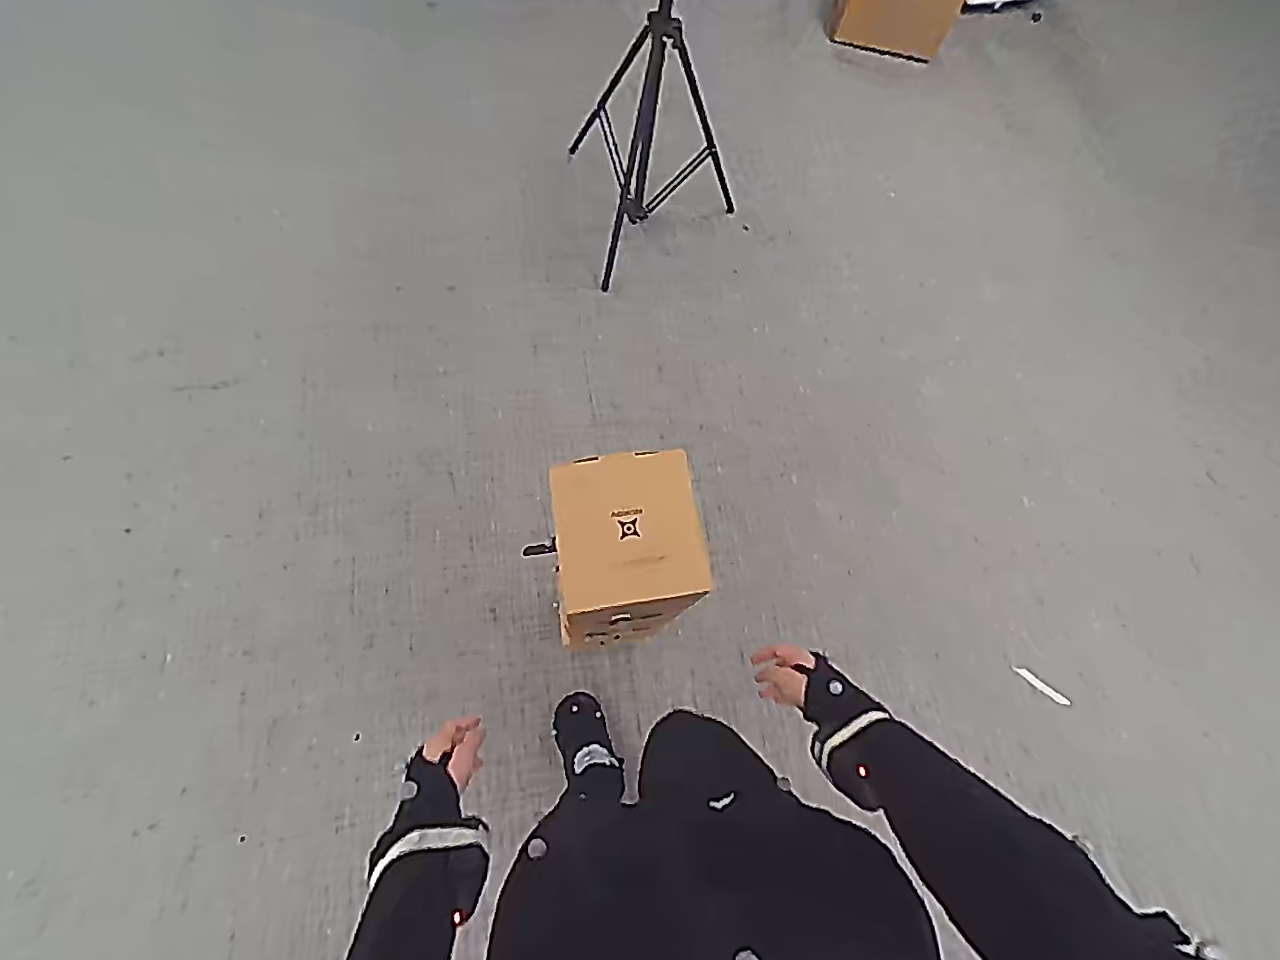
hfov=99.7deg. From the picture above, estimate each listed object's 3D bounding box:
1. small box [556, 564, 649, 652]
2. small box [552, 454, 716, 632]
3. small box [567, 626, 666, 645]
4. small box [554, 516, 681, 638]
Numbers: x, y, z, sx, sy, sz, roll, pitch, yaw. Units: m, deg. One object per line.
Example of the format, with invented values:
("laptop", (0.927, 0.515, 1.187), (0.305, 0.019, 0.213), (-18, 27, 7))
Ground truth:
("small box", (-0.081, 0.264, 1.133), (0.179, 0.176, 0.168), (-4, 71, -8))
("small box", (-0.018, 0.085, 0.681), (0.168, 0.176, 0.179), (-8, 71, -8))
("small box", (-0.054, 0.203, 0.983), (0.168, 0.176, 0.179), (-5, 71, -9))
("small box", (-0.039, 0.143, 0.831), (0.168, 0.176, 0.179), (-5, 69, -9))
